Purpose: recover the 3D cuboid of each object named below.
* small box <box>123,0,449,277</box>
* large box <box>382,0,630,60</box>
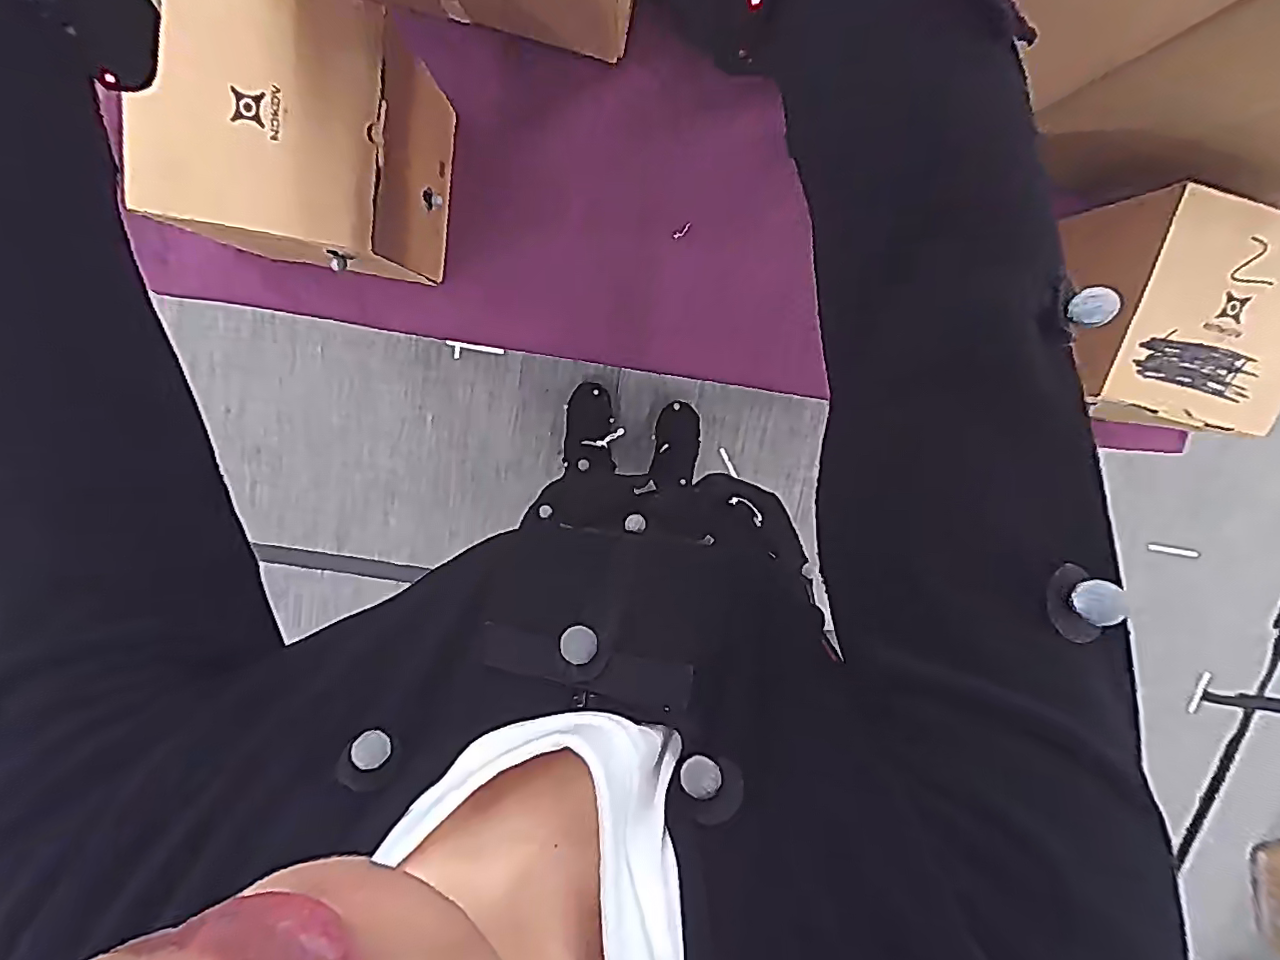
[{"bbox_3d":[-0.282,-0.282,0.466,0.179,0.176,0.168,7,102,-6],"label":"small box"},{"bbox_3d":[-0.122,-0.589,0.331,0.320,0.320,0.408,11,105,-4],"label":"large box"}]
